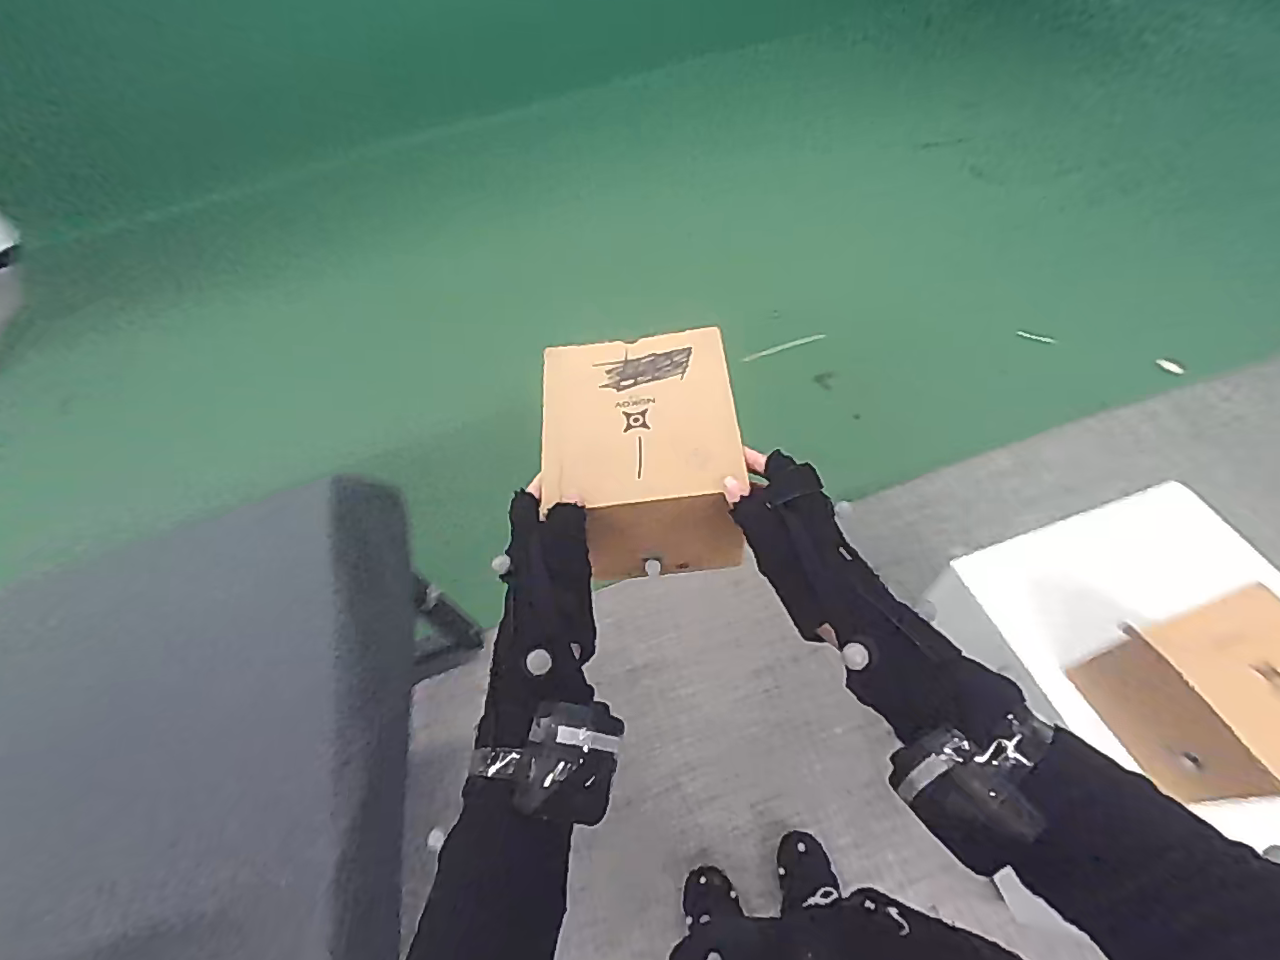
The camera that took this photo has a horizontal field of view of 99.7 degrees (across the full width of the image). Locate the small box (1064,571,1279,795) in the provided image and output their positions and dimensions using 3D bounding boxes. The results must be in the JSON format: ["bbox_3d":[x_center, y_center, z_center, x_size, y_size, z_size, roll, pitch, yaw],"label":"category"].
[{"bbox_3d":[0.655,0.239,0.619,0.168,0.176,0.179,-21,55,-6],"label":"small box"}]
